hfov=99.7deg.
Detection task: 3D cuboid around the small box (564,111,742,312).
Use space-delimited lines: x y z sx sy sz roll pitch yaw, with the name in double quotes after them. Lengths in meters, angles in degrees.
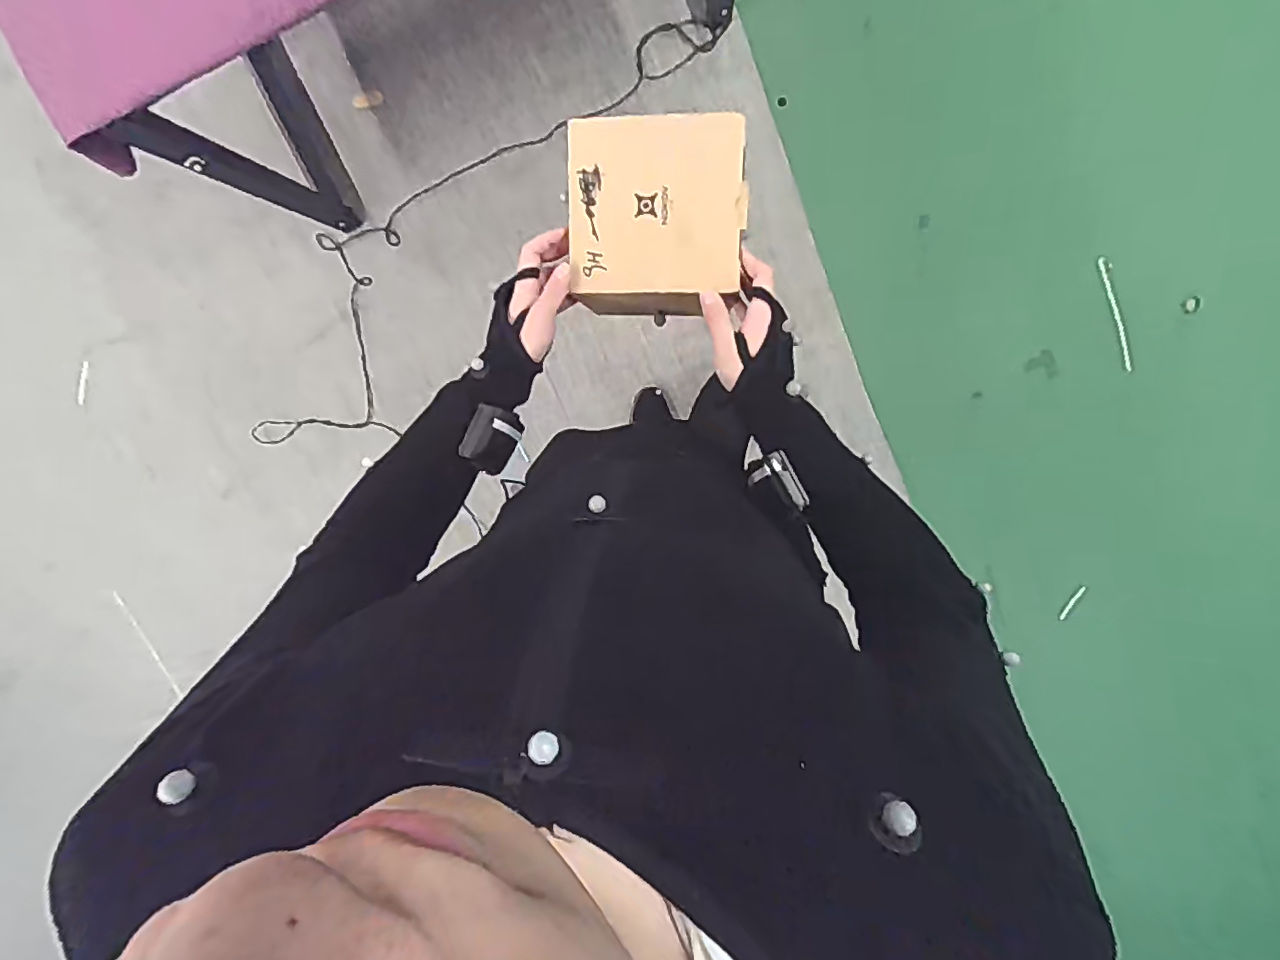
0.016 -0.290 0.617 0.179 0.176 0.168 2 99 5 "small box"
